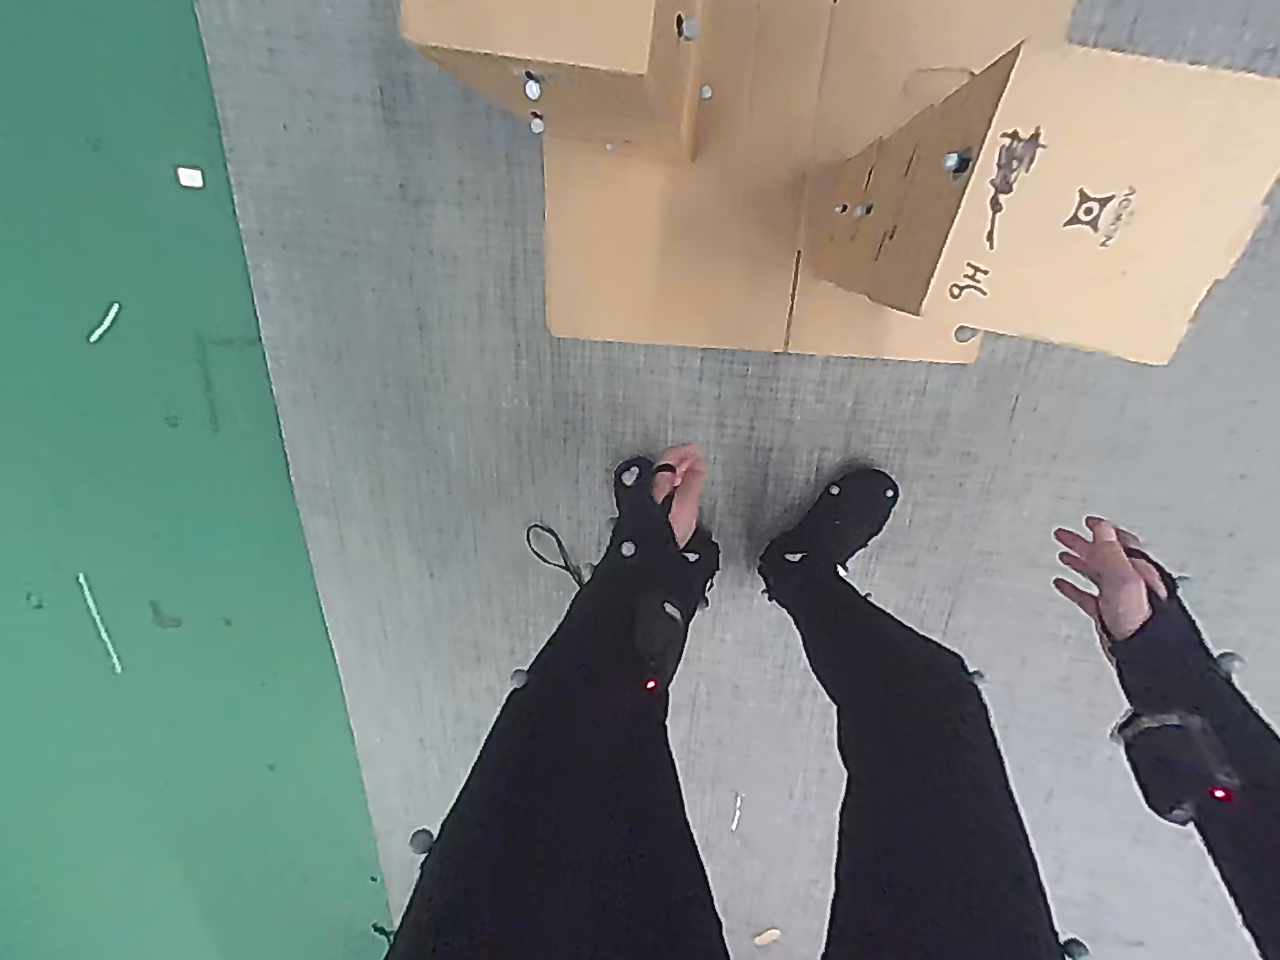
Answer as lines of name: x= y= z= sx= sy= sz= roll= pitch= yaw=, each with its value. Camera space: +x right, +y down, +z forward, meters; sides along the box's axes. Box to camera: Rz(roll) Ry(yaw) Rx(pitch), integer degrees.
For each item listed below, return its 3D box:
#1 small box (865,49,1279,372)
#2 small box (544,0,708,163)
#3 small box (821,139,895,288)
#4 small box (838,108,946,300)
small box: x=0.305 y=-0.198 z=0.424 sx=0.179 sy=0.176 sz=0.168 roll=13 pitch=114 yaw=4
small box: x=-0.012 y=-0.523 z=0.701 sx=0.179 sy=0.176 sz=0.168 roll=9 pitch=114 yaw=5
small box: x=0.358 y=-0.334 z=0.719 sx=0.179 sy=0.176 sz=0.168 roll=11 pitch=114 yaw=6
small box: x=0.332 y=-0.264 z=0.572 sx=0.179 sy=0.176 sz=0.168 roll=14 pitch=114 yaw=5
